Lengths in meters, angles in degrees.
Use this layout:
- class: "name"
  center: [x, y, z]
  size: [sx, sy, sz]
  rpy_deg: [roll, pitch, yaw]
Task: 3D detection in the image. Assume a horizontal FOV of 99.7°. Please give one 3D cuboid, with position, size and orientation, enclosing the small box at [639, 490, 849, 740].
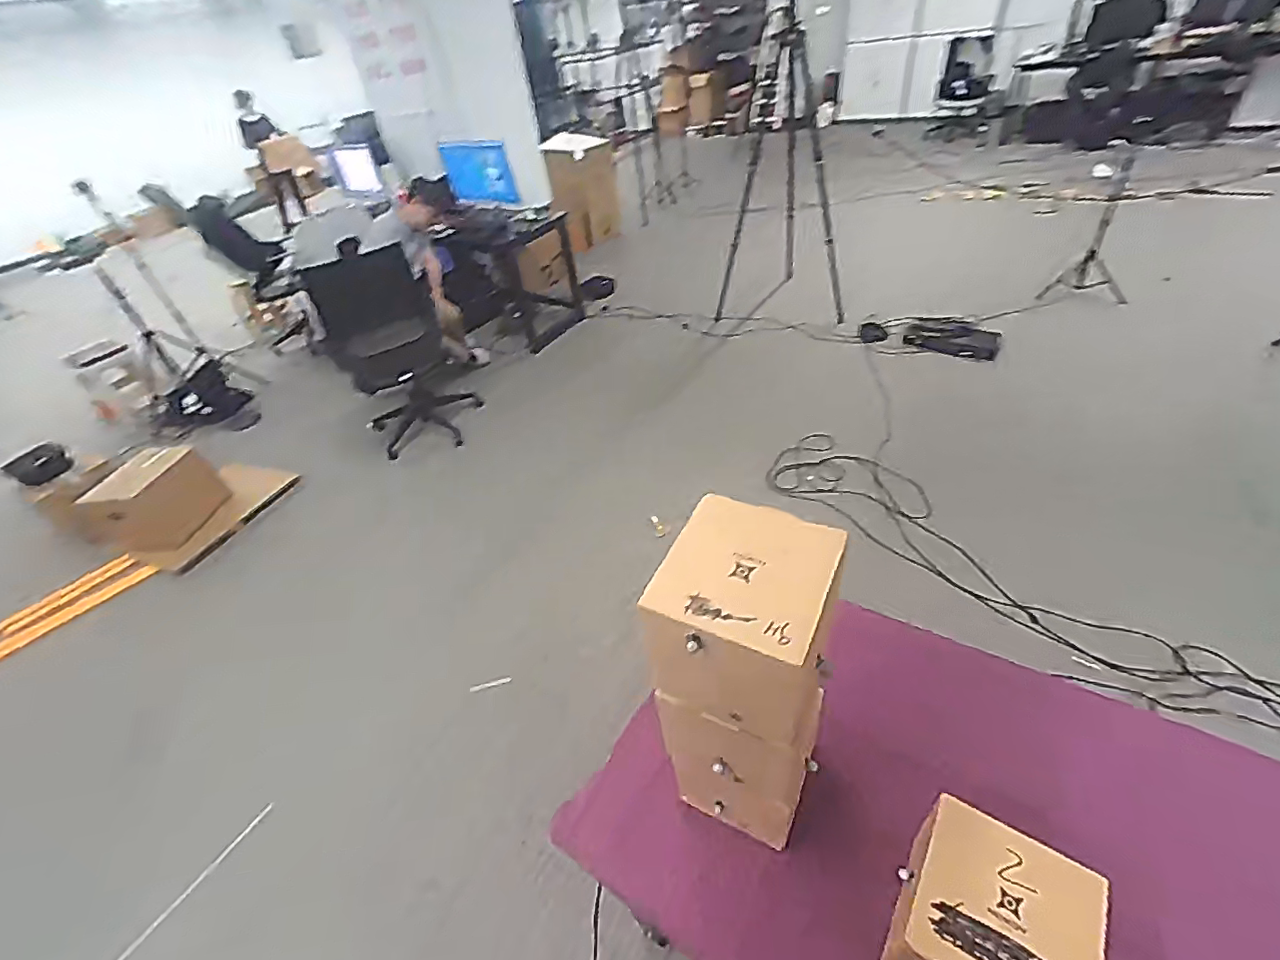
- class: "small box"
  center: [0.117, 0.144, 0.598]
  size: [0.168, 0.176, 0.179]
  rpy_deg: [15, 46, 27]

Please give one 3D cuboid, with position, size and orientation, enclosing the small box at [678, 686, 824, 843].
- class: "small box"
  center: [0.163, 0.393, 0.807]
  size: [0.168, 0.176, 0.179]
  rpy_deg: [14, 46, 26]

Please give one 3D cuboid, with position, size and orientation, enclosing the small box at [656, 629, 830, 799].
- class: "small box"
  center: [0.136, 0.268, 0.703]
  size: [0.168, 0.176, 0.179]
  rpy_deg: [13, 46, 25]
